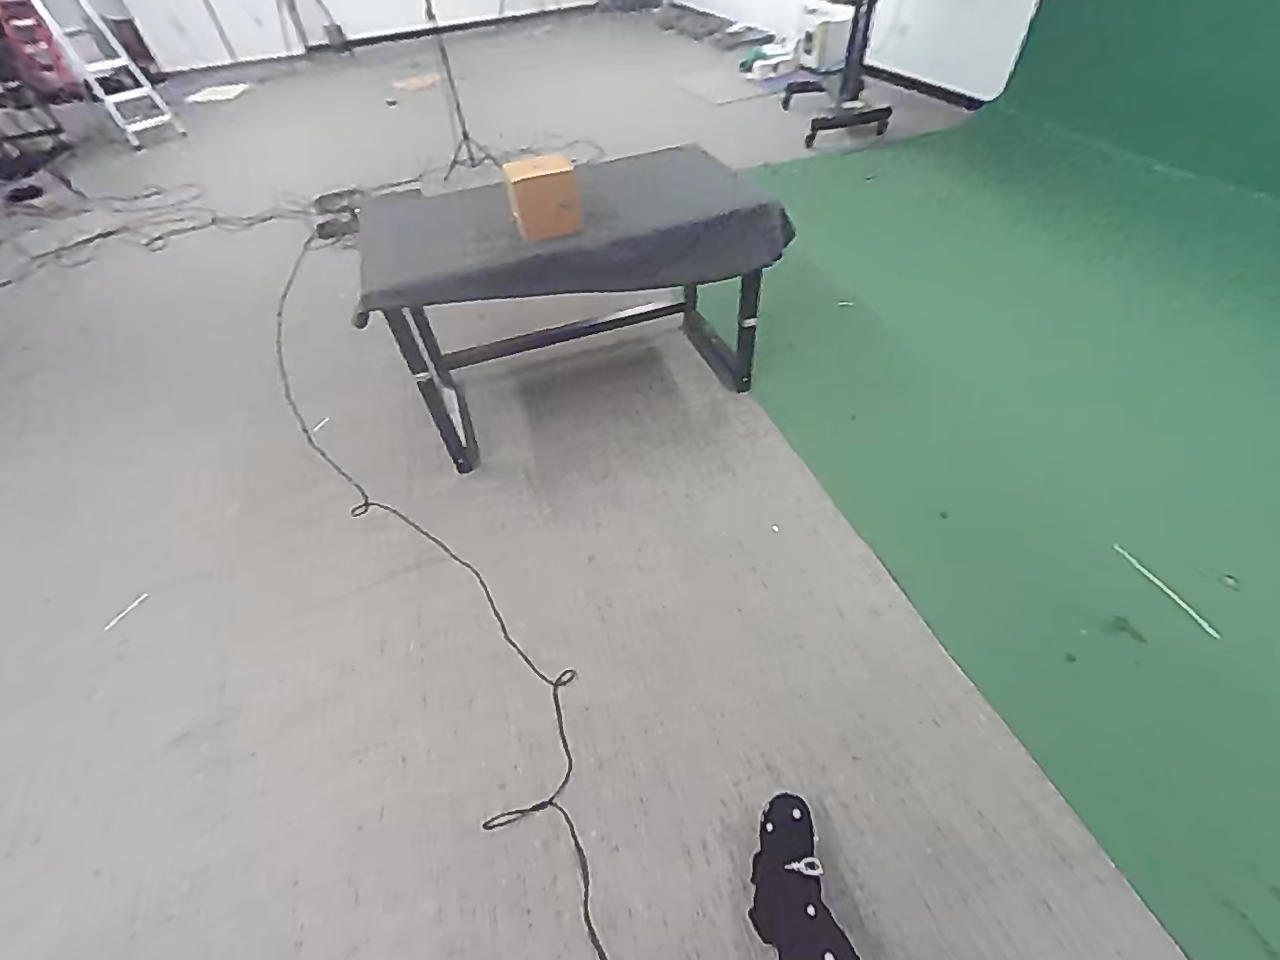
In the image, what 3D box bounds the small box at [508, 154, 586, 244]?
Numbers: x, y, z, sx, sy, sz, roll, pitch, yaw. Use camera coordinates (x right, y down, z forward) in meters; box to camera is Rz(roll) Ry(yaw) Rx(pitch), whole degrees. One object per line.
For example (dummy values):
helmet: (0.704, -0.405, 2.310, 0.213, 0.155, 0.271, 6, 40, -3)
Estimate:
small box: (-0.262, -0.808, 1.559, 0.179, 0.176, 0.168, -19, 48, -9)
